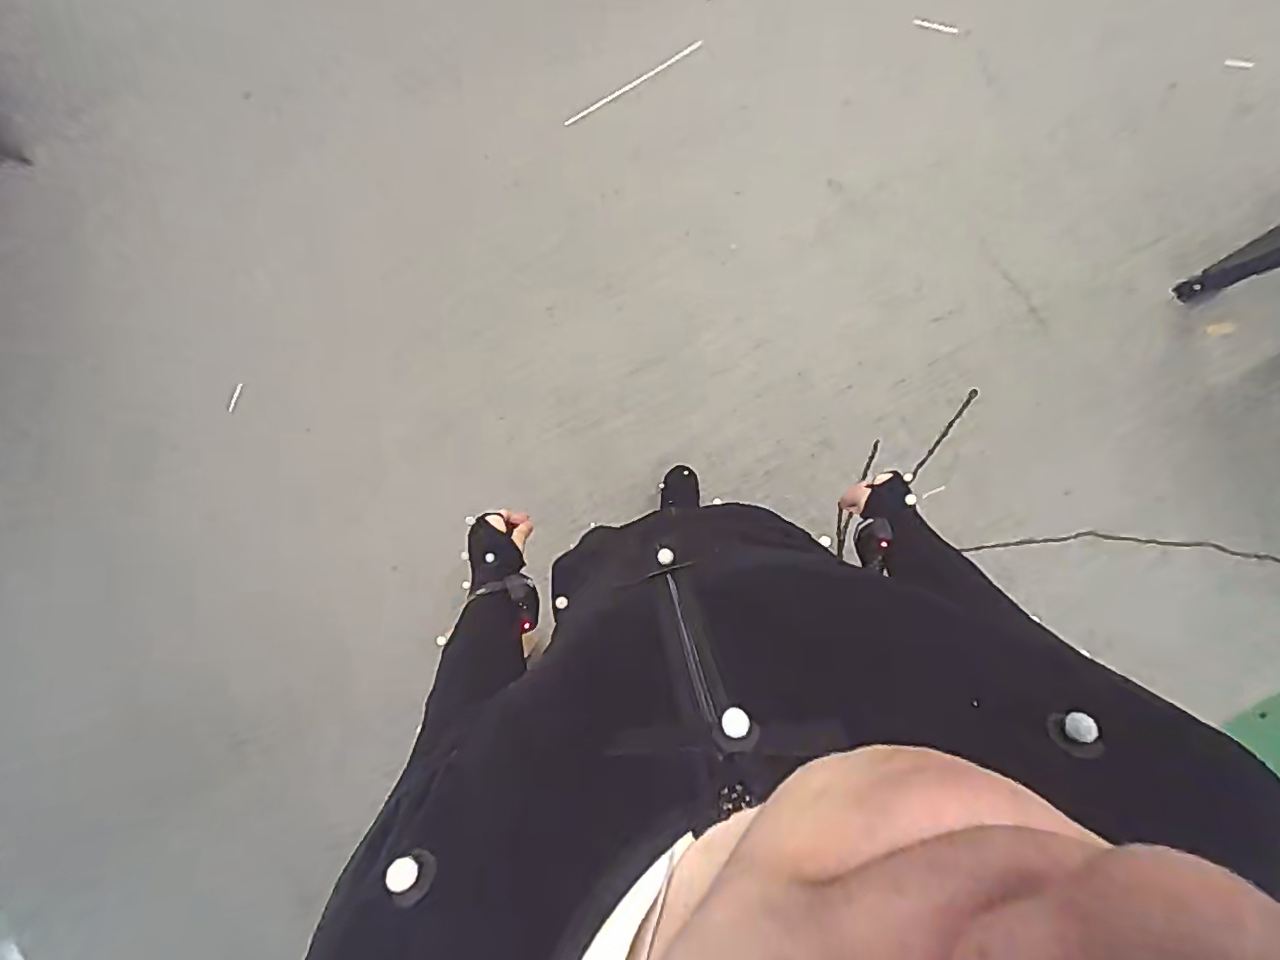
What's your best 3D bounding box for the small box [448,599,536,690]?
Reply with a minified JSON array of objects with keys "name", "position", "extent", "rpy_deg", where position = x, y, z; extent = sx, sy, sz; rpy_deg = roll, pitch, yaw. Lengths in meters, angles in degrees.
[{"name":"small box","position":[-0.416,0.466,1.562],"extent":[0.179,0.176,0.168],"rpy_deg":[-29,89,2]}]
